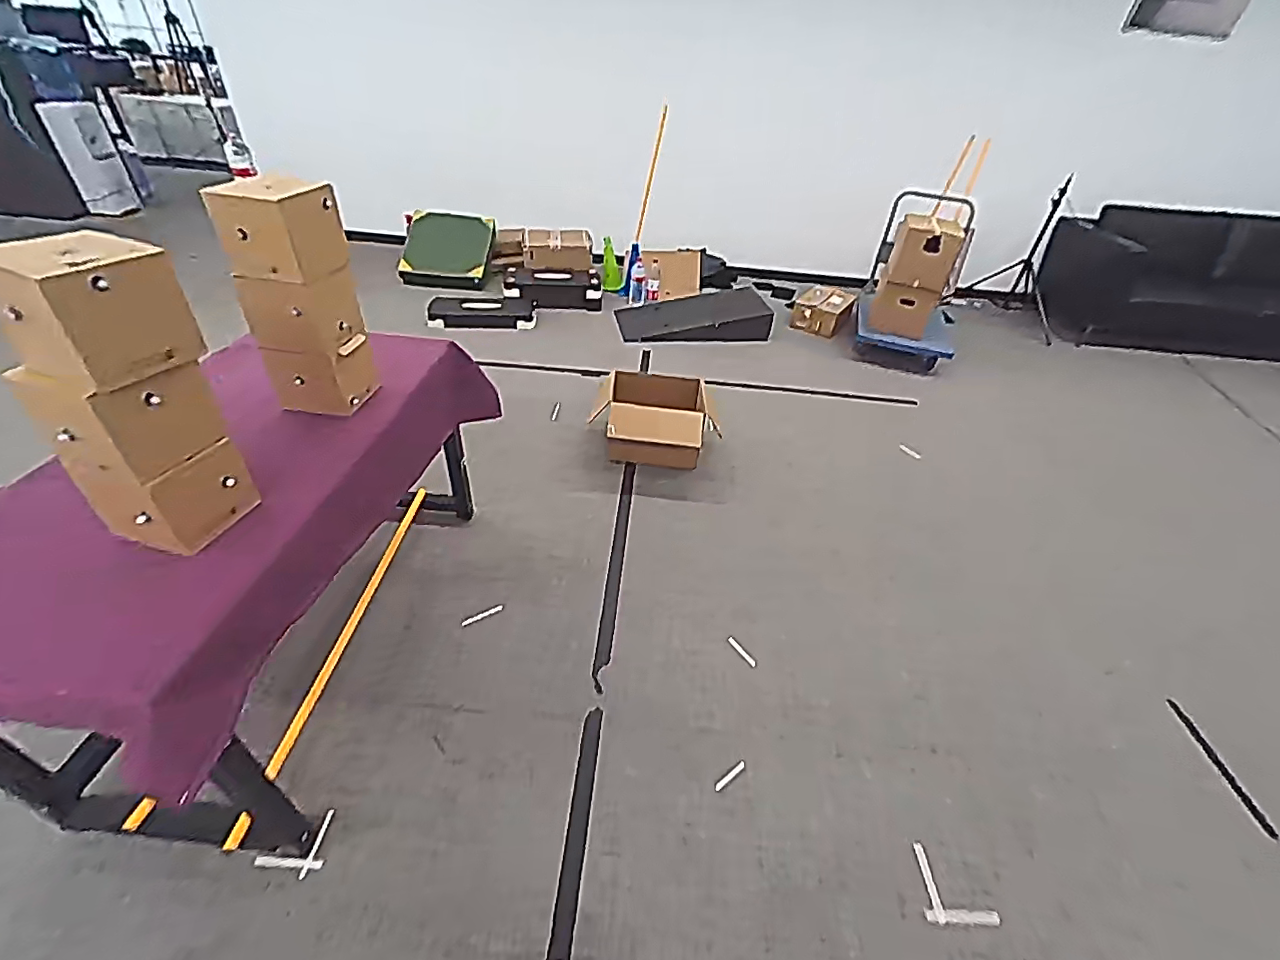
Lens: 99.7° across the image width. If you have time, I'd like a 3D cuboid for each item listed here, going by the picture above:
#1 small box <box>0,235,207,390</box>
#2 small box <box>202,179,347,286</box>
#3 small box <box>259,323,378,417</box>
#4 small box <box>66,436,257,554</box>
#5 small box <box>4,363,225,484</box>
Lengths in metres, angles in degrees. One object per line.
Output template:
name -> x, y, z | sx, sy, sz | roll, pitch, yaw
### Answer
small box -> -0.816, -0.252, 0.812 | 0.179, 0.176, 0.168 | 17, 39, 14
small box -> -0.764, -0.529, 1.157 | 0.168, 0.176, 0.179 | 10, 39, 5
small box -> -0.792, -0.274, 1.358 | 0.179, 0.176, 0.168 | 7, 39, 4
small box -> -0.864, 0.013, 1.000 | 0.179, 0.176, 0.168 | 13, 39, 10
small box -> -0.852, -0.117, 0.902 | 0.168, 0.176, 0.179 | 15, 39, 10
